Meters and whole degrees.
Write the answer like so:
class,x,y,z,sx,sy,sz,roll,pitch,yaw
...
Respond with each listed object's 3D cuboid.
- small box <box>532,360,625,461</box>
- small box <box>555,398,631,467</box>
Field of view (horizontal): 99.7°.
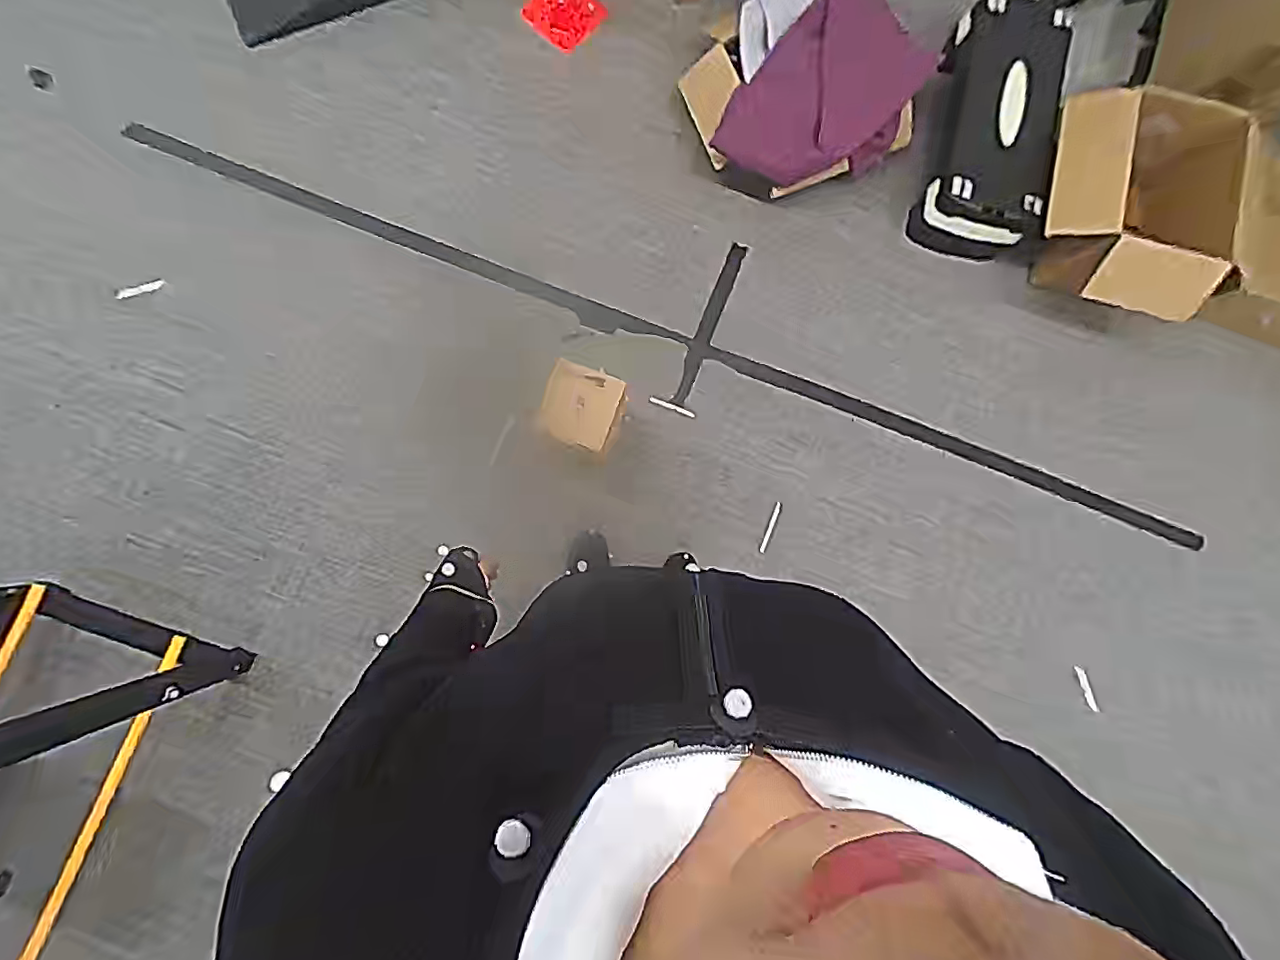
class,x,y,z,sx,sy,sz,roll,pitch,yaw
small box,-0.138,-0.156,1.290,0.168,0.176,0.179,21,85,0
small box,-0.135,-0.149,1.454,0.168,0.176,0.179,22,84,0
